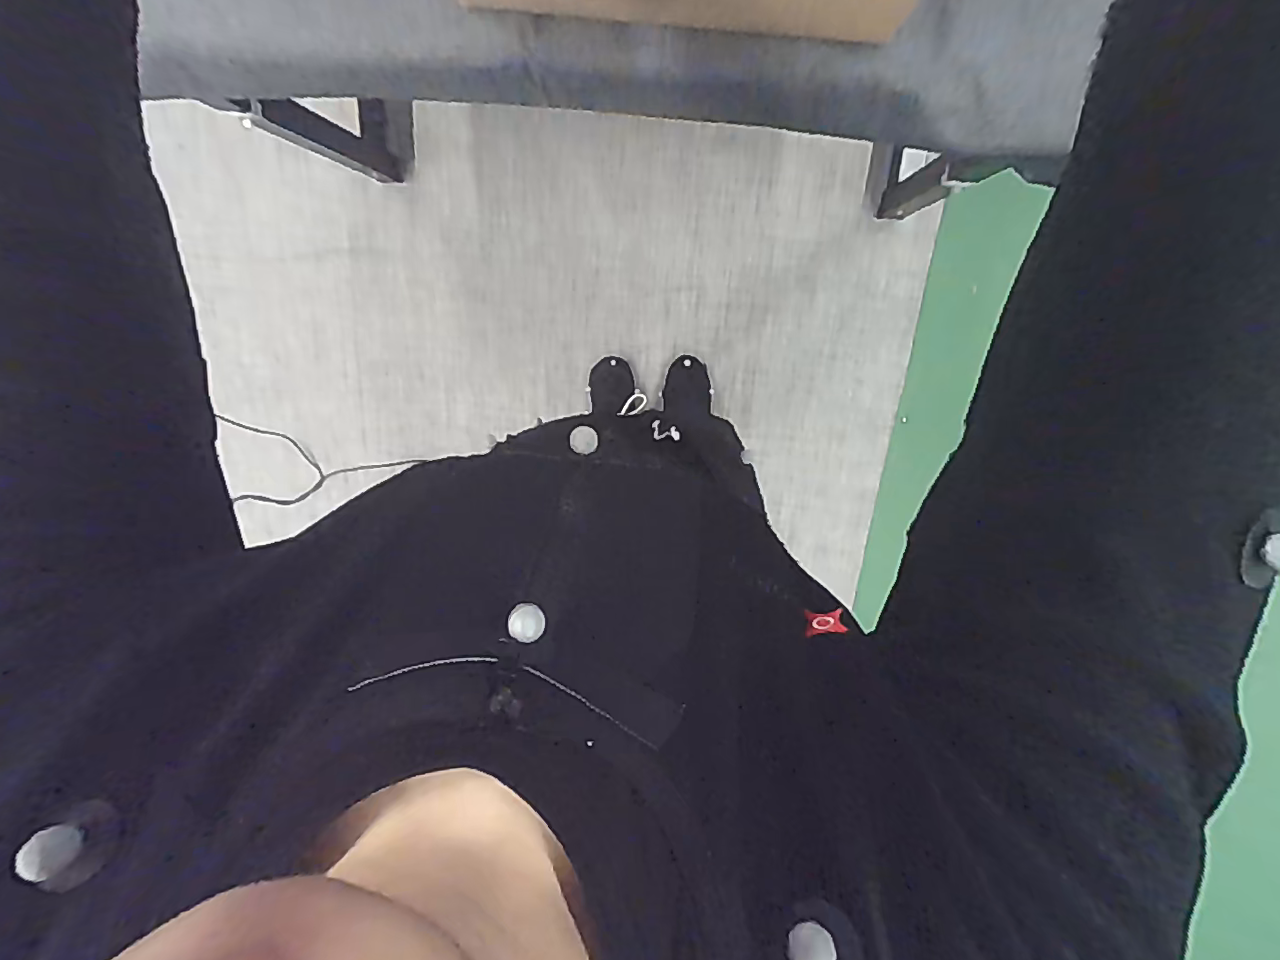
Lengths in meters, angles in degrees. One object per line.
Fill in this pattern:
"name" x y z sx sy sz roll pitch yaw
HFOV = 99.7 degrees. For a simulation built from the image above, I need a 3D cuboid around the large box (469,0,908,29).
"large box" 0.035 -0.535 0.319 0.408 0.320 0.320 6 106 2
